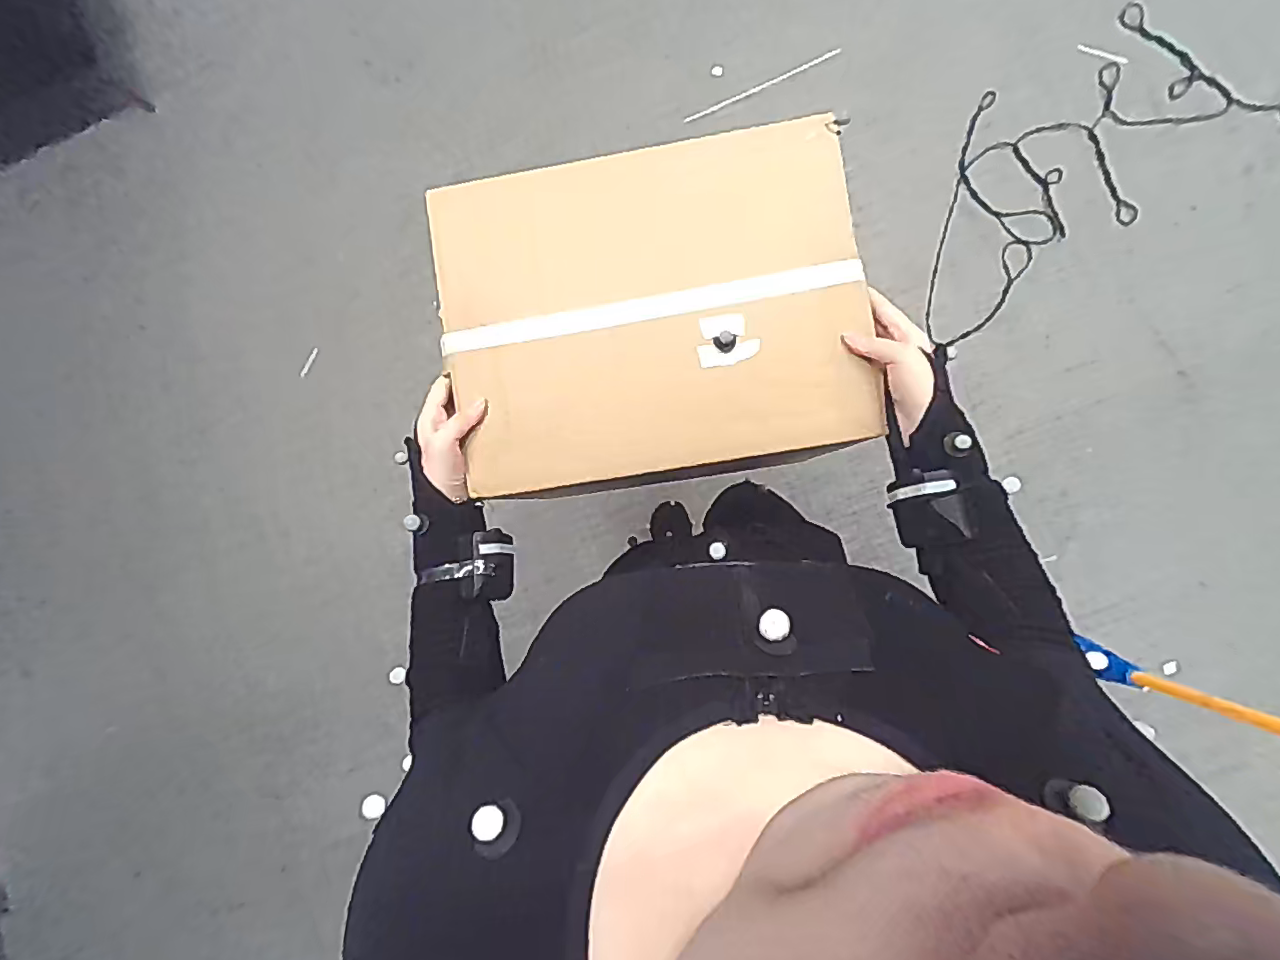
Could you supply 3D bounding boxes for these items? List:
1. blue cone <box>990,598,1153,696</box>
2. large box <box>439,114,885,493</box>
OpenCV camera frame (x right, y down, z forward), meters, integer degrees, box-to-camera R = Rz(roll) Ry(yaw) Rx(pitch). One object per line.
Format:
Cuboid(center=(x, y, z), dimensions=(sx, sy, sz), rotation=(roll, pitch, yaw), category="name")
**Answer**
Cuboid(center=(1.009, 0.407, 1.249), dimensions=(0.193, 0.380, 0.192), rotation=(-14, 86, 4), category="blue cone")
Cuboid(center=(0.021, -0.168, 0.674), dimensions=(0.408, 0.320, 0.320), rotation=(-9, 88, 2), category="large box")
